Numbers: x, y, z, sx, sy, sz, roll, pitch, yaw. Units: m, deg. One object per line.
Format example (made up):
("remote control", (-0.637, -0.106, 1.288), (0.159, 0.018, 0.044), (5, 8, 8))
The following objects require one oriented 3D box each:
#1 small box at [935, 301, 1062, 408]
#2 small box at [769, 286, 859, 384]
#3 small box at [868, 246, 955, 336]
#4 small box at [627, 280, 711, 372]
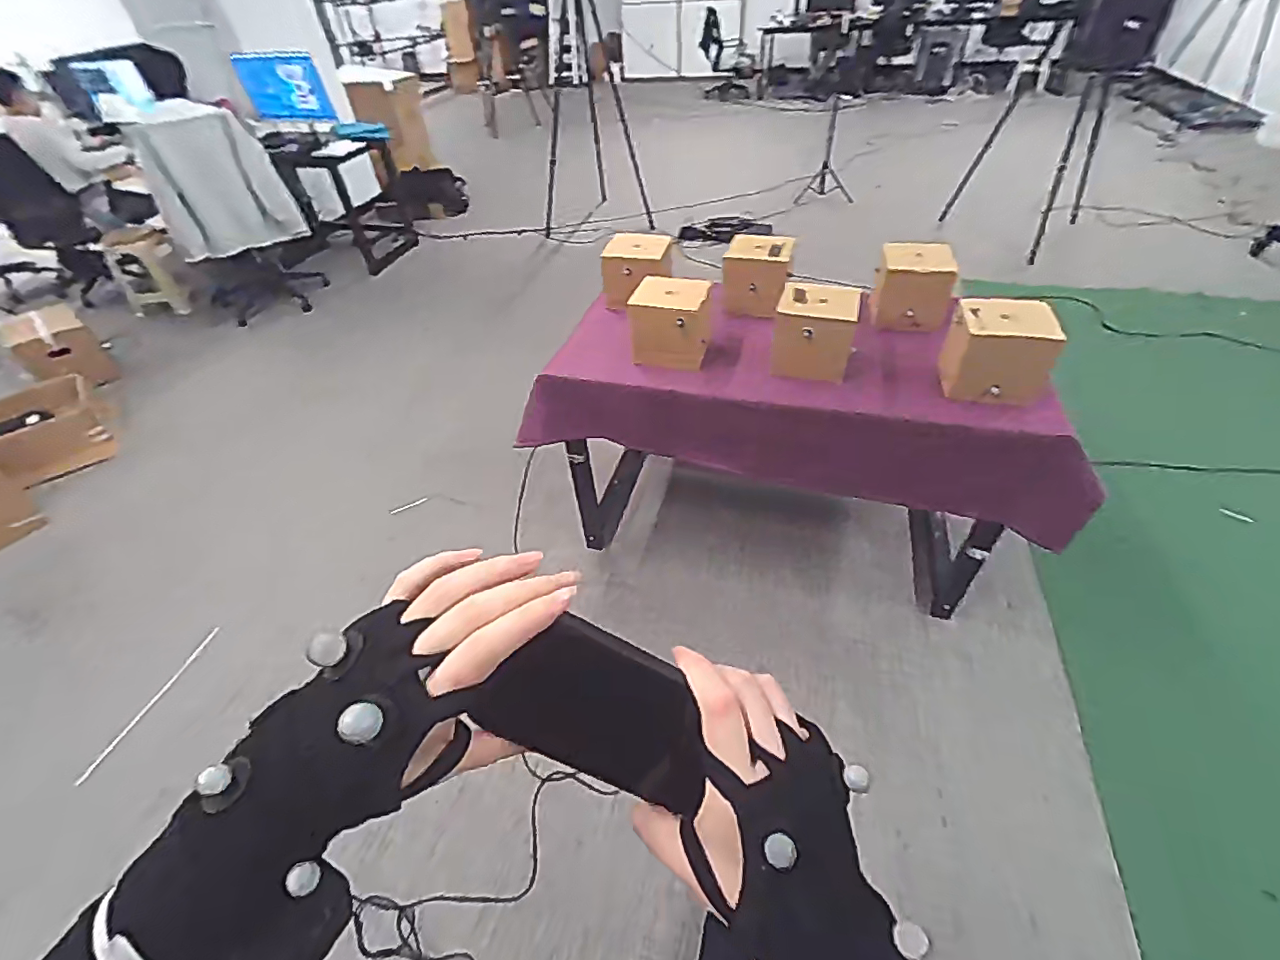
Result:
("small box", (0.786, -0.278, 1.207), (0.179, 0.176, 0.168), (9, 45, 13))
("small box", (0.419, -0.352, 1.317), (0.179, 0.176, 0.168), (12, 46, 16))
("small box", (0.719, -0.510, 1.454), (0.168, 0.176, 0.179), (7, 45, 13))
("small box", (0.077, -0.396, 1.393), (0.179, 0.176, 0.168), (11, 46, 14))
